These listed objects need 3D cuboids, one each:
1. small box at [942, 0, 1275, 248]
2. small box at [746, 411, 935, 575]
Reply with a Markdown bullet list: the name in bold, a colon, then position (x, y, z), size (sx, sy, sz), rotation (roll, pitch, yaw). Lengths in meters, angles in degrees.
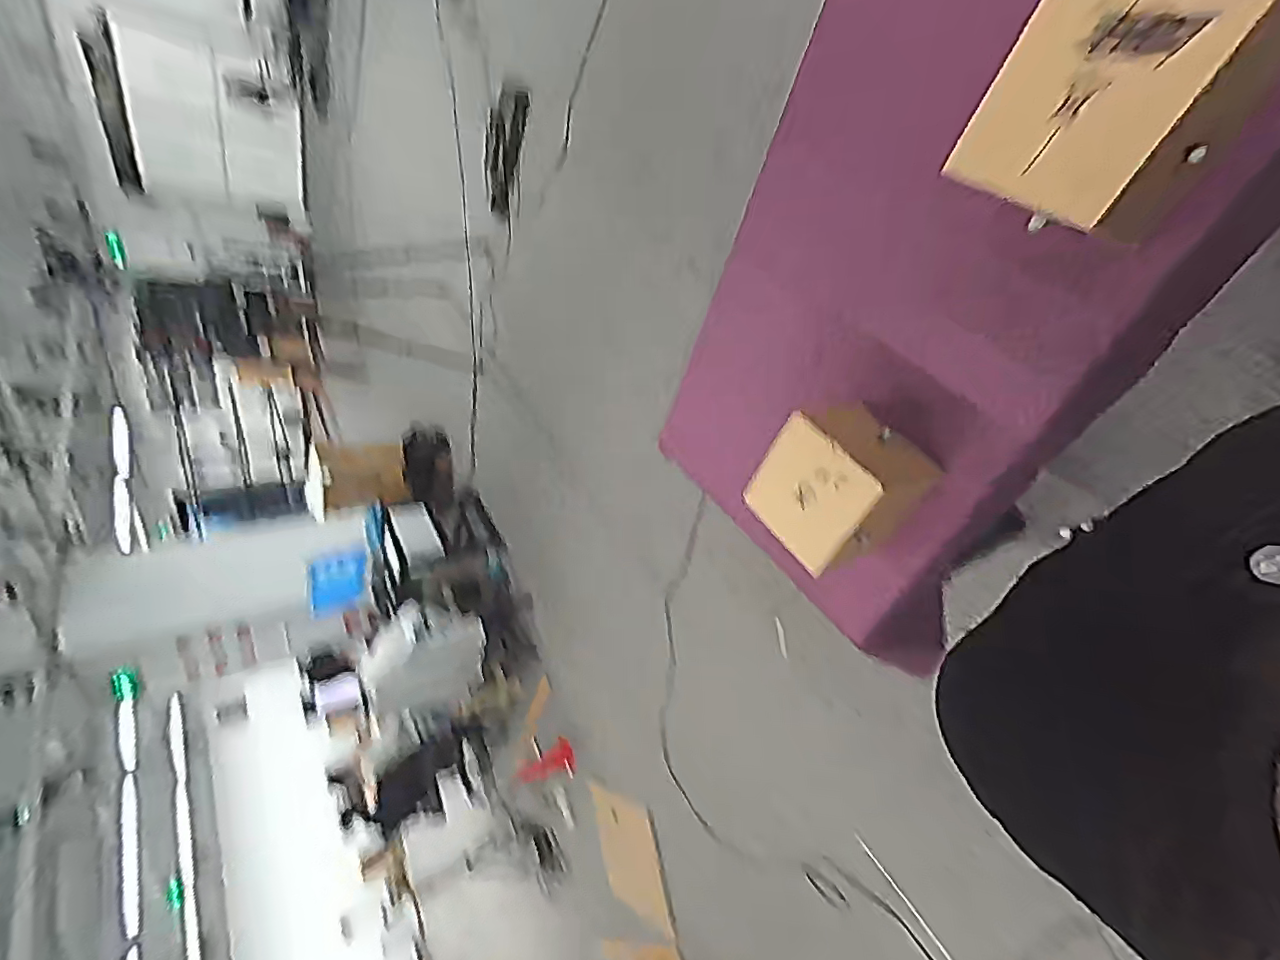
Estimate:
- **small box**: position (0.455, -0.354, 0.537), size (0.168, 0.176, 0.179), rotation (51, 135, 34)
- **small box**: position (0.301, 0.013, 0.817), size (0.168, 0.176, 0.179), rotation (51, 134, 33)
